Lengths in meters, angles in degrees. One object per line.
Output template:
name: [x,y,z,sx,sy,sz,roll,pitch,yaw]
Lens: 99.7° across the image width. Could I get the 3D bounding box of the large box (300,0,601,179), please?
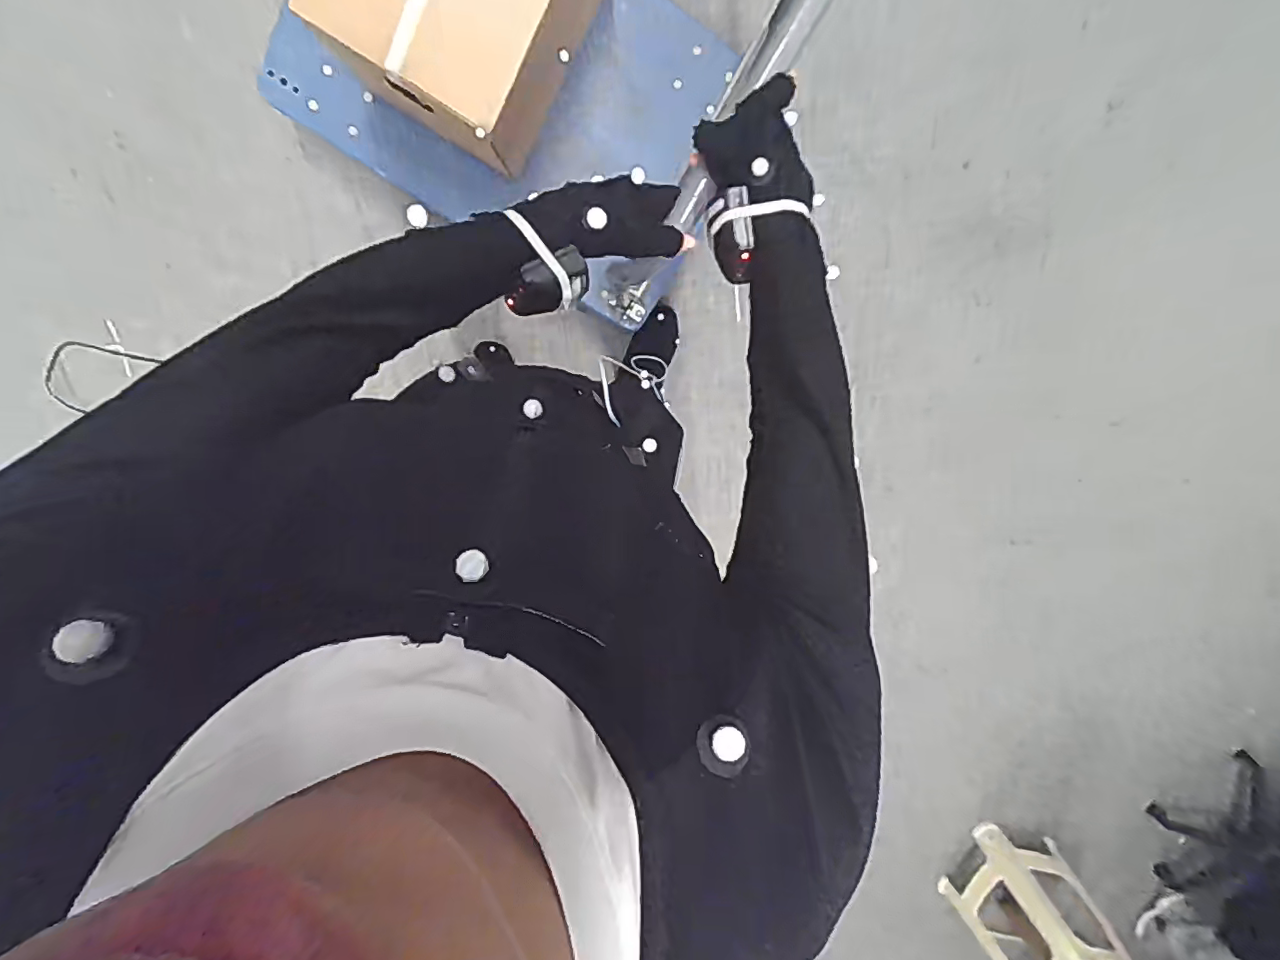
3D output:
large box: [-0.273,-0.807,0.901,0.320,0.320,0.408,28,103,-11]
